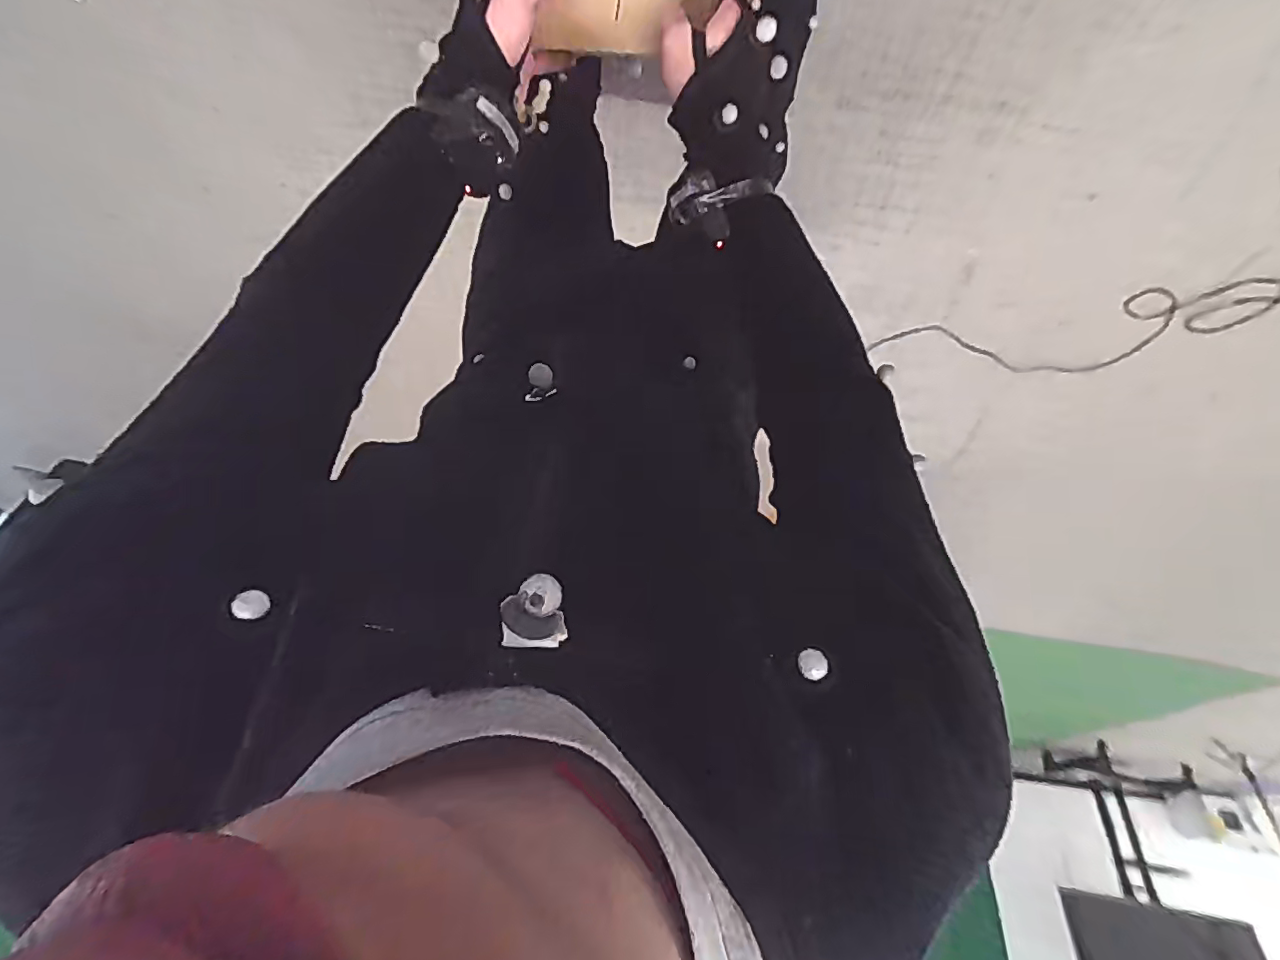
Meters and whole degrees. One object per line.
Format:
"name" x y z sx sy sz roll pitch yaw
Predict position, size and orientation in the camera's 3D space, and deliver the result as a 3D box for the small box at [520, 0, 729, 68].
"small box" -0.002 -0.477 0.471 0.168 0.176 0.179 9 128 7
